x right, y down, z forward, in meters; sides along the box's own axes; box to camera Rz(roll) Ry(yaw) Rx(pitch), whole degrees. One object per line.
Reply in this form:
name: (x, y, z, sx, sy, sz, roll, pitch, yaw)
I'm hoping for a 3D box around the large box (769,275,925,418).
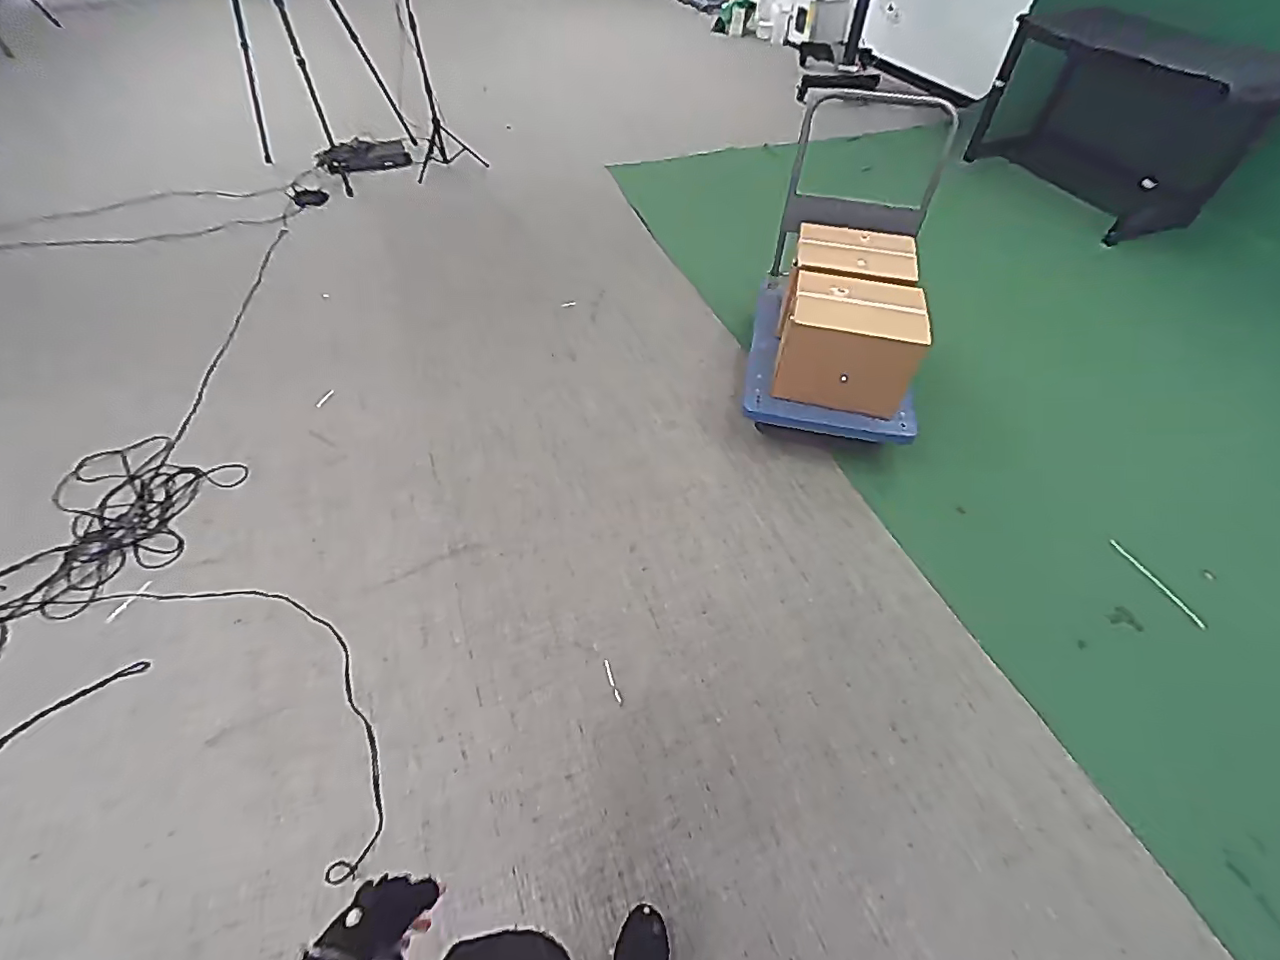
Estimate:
large box: (0.675, -0.443, 1.808, 0.408, 0.320, 0.320, 12, 51, 9)
